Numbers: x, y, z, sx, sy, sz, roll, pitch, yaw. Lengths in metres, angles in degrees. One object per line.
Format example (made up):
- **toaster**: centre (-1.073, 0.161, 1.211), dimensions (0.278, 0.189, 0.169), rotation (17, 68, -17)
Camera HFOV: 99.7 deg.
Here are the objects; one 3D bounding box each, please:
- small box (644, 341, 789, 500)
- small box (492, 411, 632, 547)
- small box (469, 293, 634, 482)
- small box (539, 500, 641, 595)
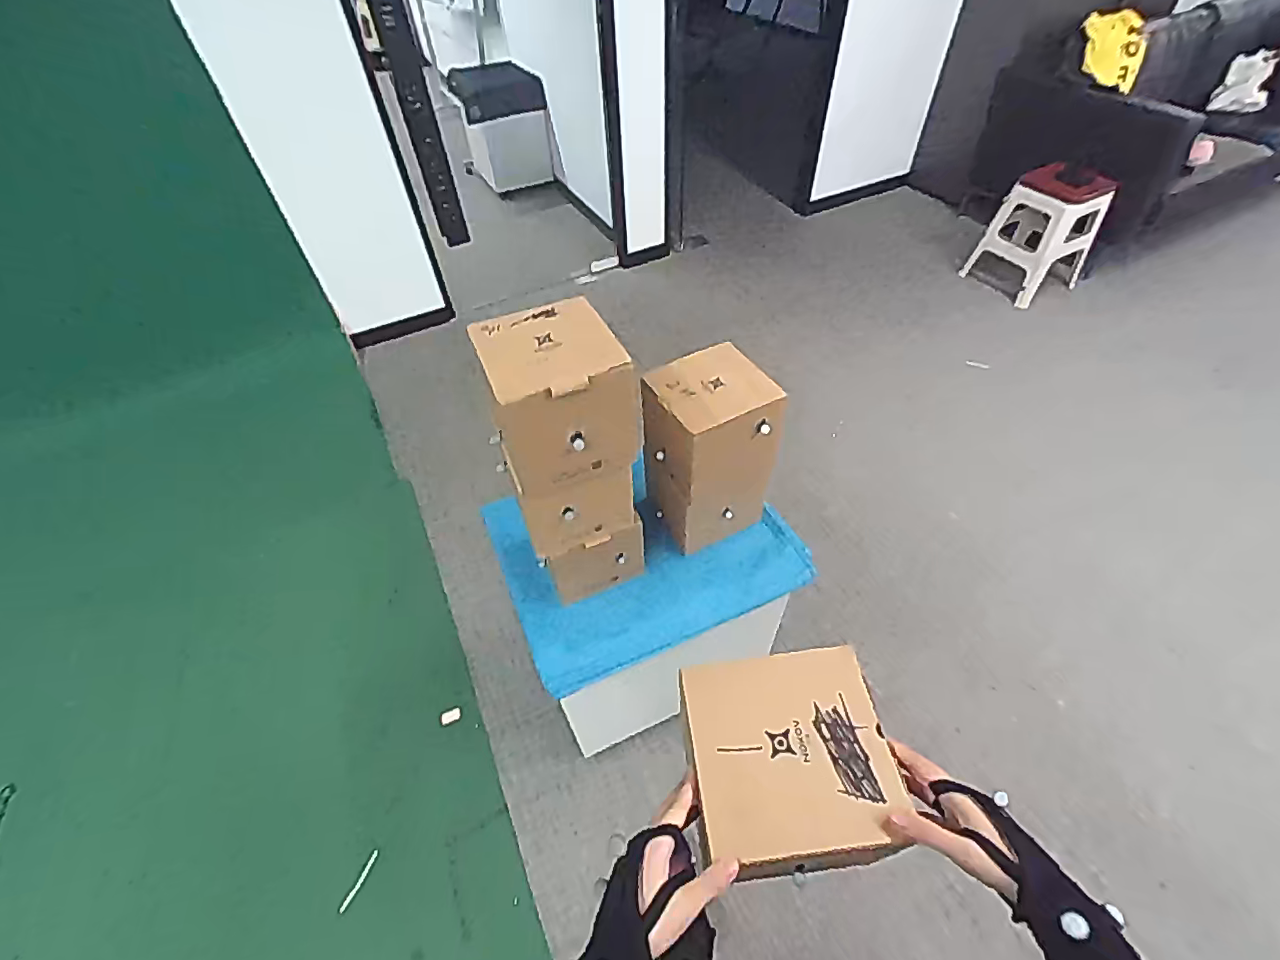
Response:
- **small box**: centre (0.120, -0.098, 0.908), dimensions (0.179, 0.176, 0.168), rotation (-23, 52, -15)
- **small box**: centre (-0.118, -0.016, 0.854), dimensions (0.168, 0.176, 0.179), rotation (-18, 50, -14)
- **small box**: centre (-0.113, -0.118, 0.725), dimensions (0.168, 0.176, 0.179), rotation (-18, 51, -14)
- **small box**: centre (-0.102, 0.086, 0.979), dimensions (0.168, 0.176, 0.179), rotation (-19, 51, -15)
